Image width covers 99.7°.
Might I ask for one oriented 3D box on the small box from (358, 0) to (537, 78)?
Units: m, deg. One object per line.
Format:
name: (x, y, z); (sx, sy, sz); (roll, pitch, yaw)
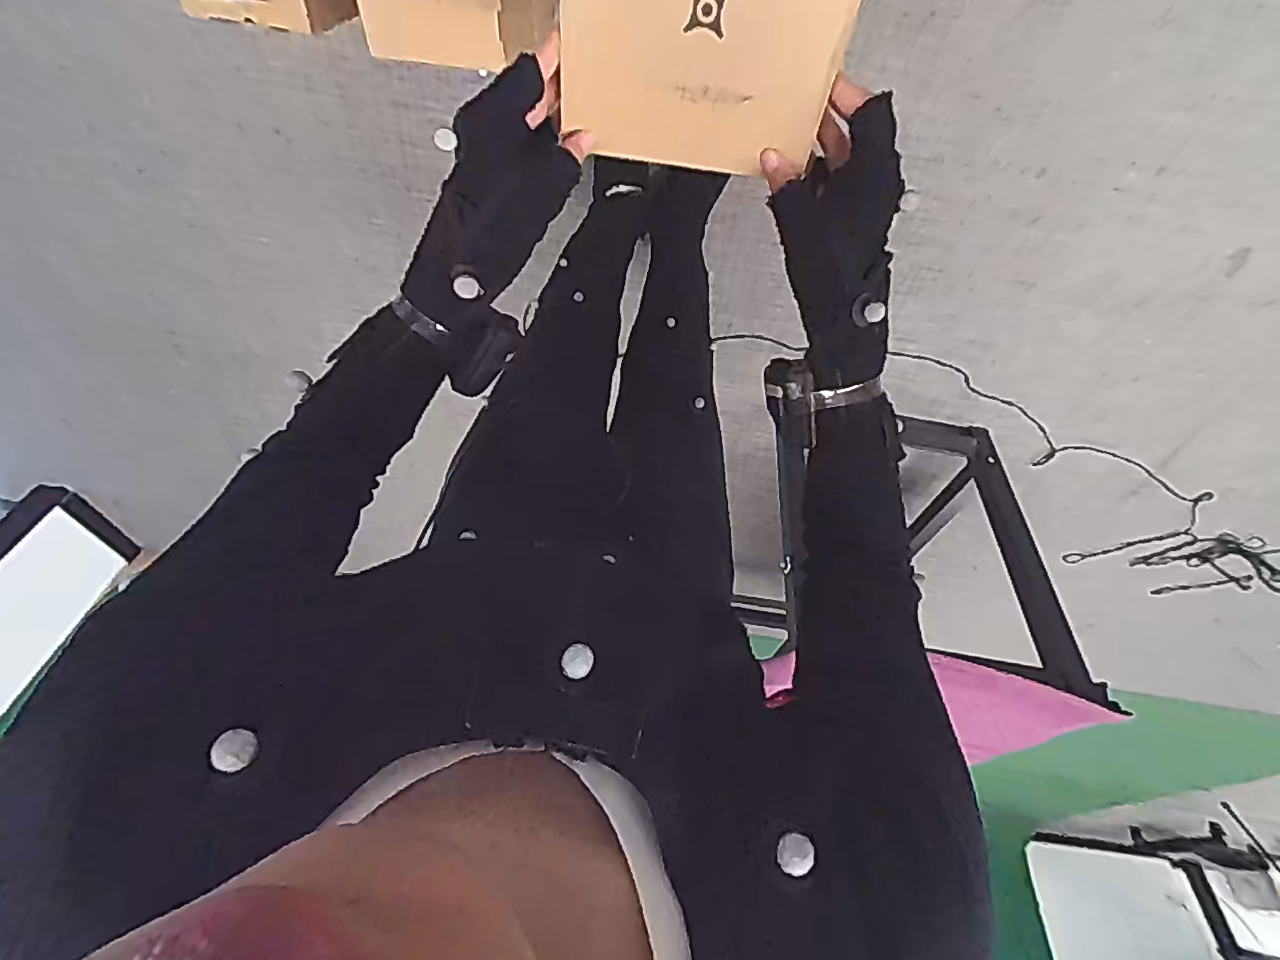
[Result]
small box: (-0.238, -0.630, 0.673); (0.179, 0.176, 0.168); (6, 140, 1)

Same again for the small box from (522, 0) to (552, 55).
small box: (-0.226, -0.751, 0.782); (0.168, 0.176, 0.179); (8, 139, 1)

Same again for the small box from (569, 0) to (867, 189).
small box: (0.047, -0.327, 0.352); (0.168, 0.176, 0.179); (7, 144, -2)
